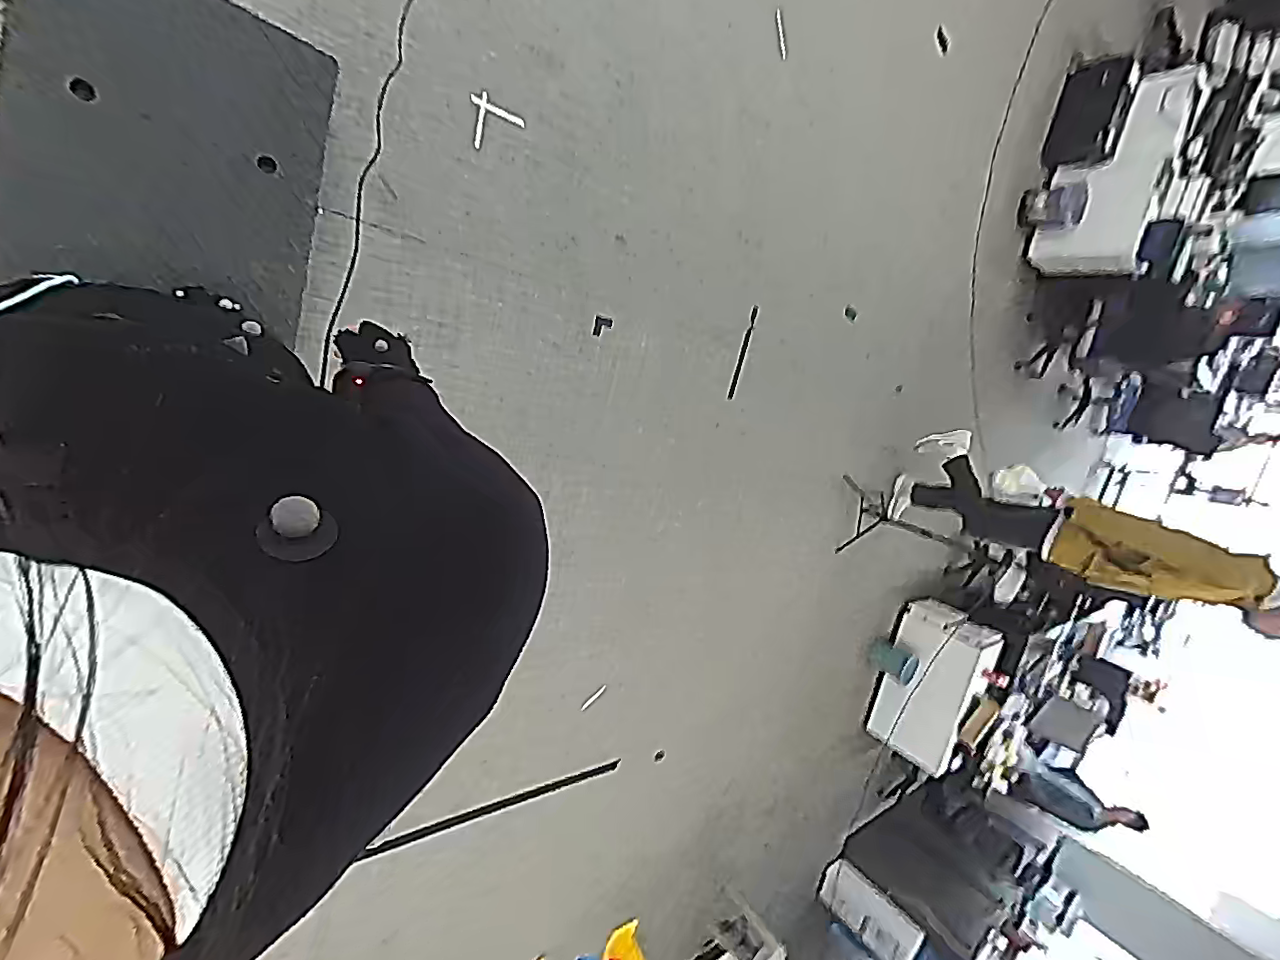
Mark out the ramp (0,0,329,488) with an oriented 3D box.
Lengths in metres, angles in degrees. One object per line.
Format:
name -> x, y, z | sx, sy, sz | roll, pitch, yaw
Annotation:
ramp -> -0.967, -0.496, 1.087 | 0.509, 0.206, 0.991 | 6, 102, -39
